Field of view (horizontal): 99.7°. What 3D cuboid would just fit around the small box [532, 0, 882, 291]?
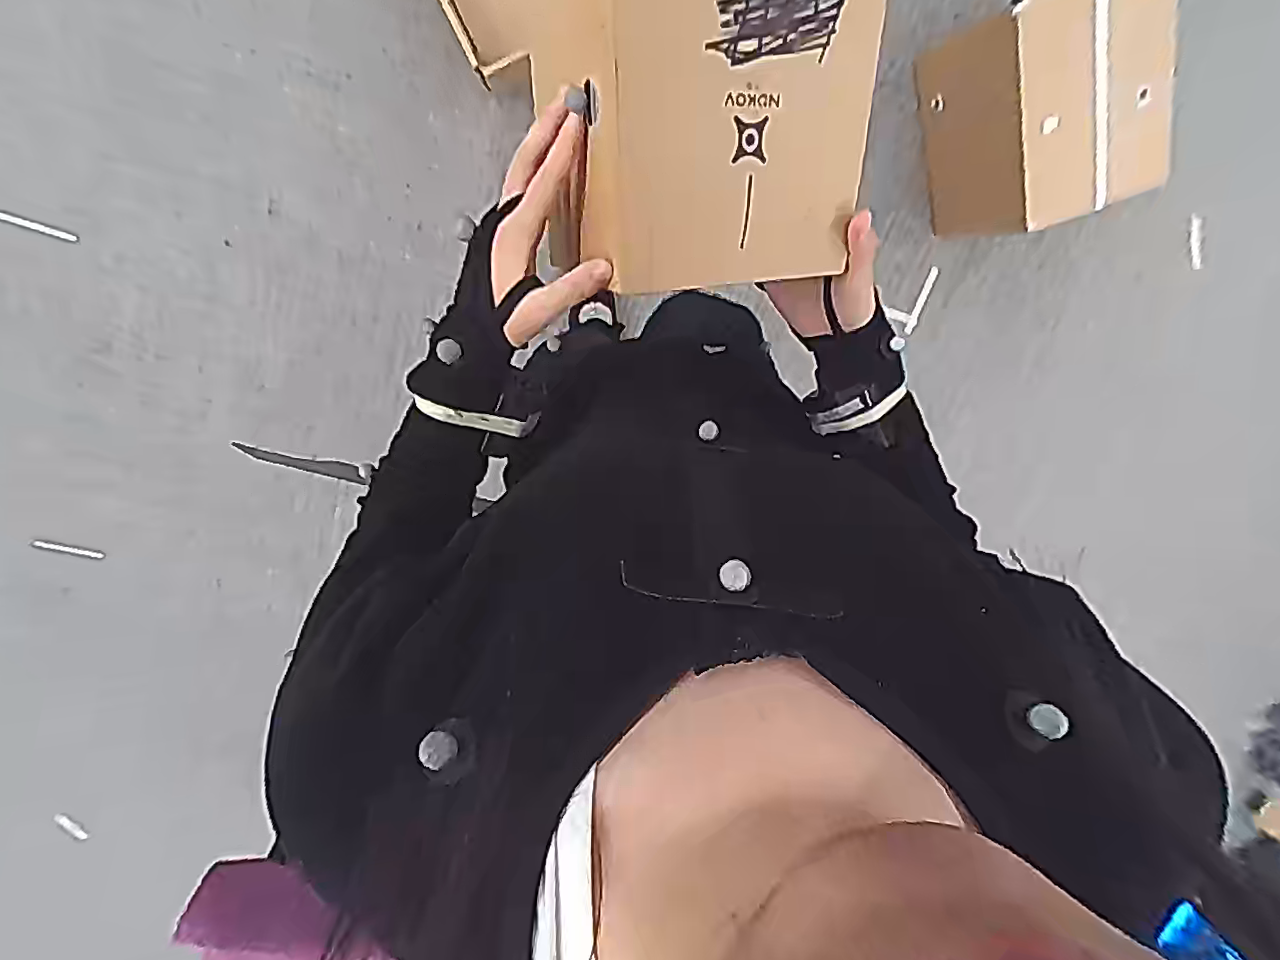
[{"bbox_3d":[0.030,-0.238,0.373,0.168,0.176,0.179,-13,121,-20],"label":"small box"}]
